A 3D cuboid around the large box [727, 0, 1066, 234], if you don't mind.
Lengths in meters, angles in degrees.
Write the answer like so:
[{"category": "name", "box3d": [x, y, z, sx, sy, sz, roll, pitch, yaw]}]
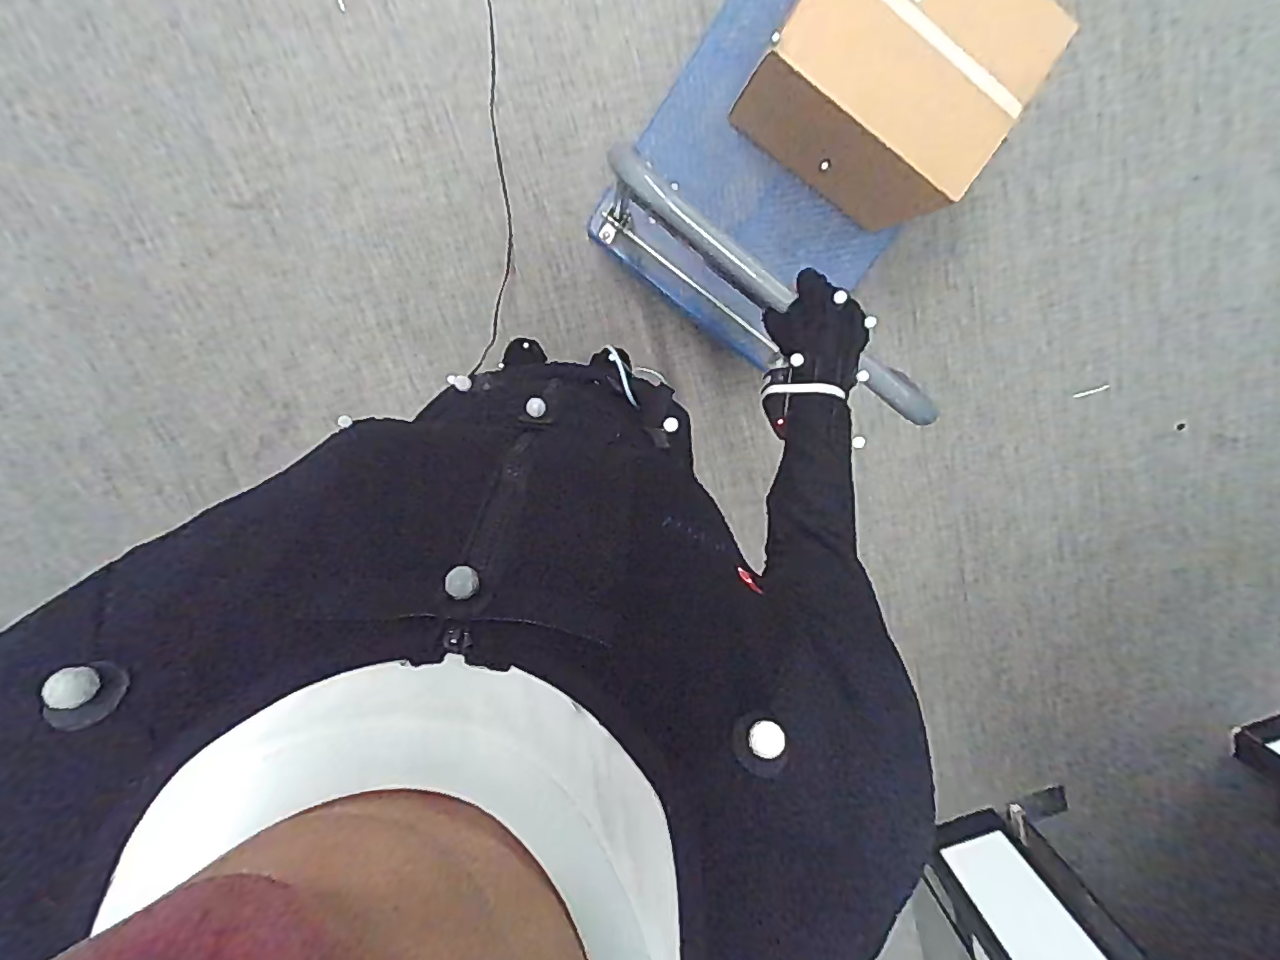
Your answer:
[{"category": "large box", "box3d": [0.435, -0.725, 1.006, 0.408, 0.320, 0.320, 30, 101, -11]}]
